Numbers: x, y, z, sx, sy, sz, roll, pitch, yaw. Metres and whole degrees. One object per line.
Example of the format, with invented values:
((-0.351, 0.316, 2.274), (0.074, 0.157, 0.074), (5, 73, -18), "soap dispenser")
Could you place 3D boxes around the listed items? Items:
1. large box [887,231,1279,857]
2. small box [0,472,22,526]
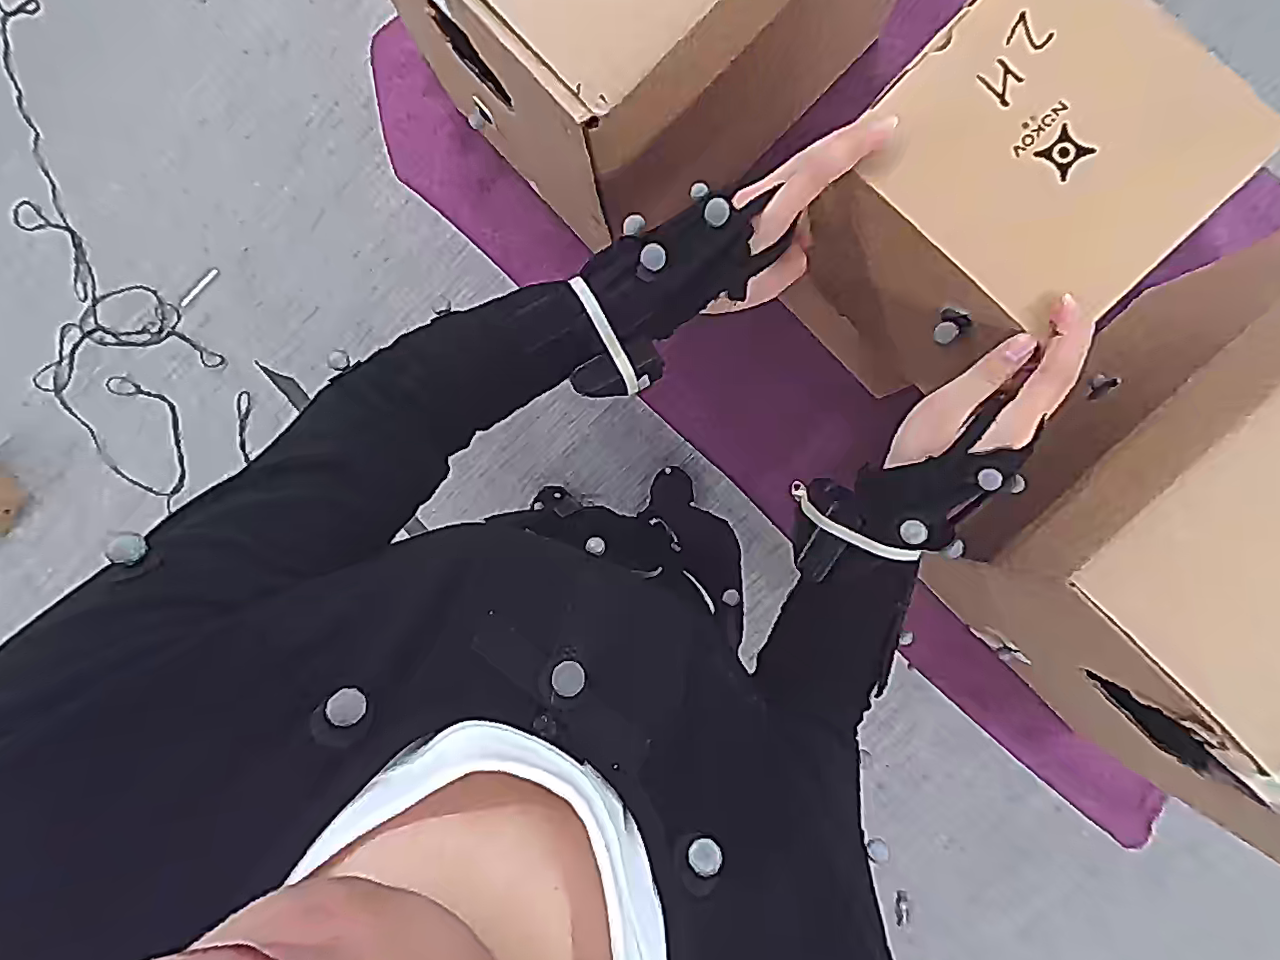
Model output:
((0.503, 0.034, 0.443), (0.408, 0.320, 0.320), (-44, 87, 2), "large box")
((-1.844, 0.047, 1.440), (0.179, 0.176, 0.168), (40, 93, 3), "small box")
